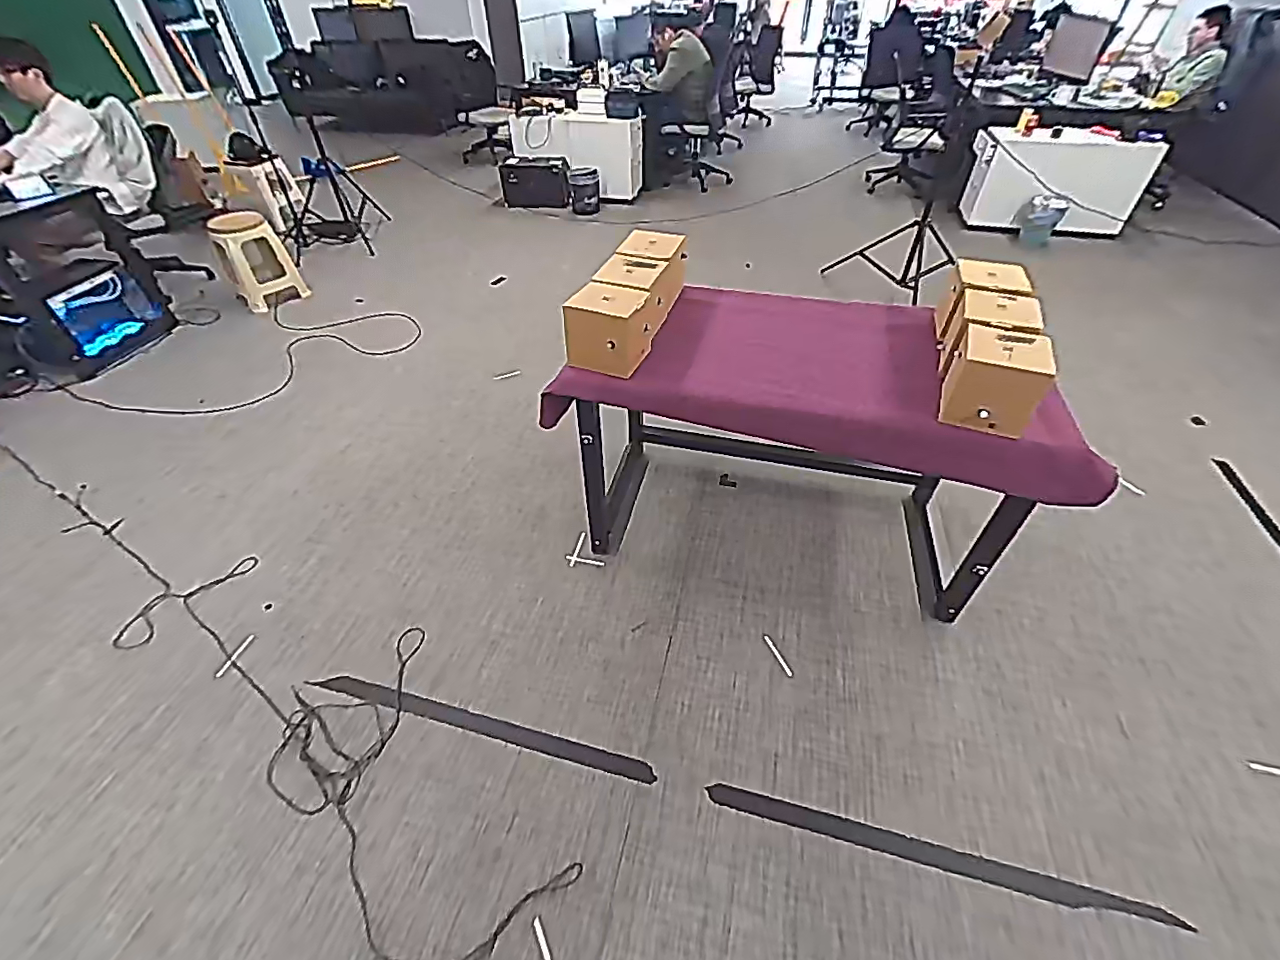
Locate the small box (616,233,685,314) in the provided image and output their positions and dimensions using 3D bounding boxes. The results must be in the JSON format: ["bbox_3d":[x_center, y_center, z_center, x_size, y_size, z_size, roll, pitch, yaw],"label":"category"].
[{"bbox_3d":[0.031,-0.632,1.652,0.168,0.176,0.179,13,46,14],"label":"small box"}]

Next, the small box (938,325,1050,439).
[{"bbox_3d":[0.793,-0.222,1.219,0.168,0.176,0.179,17,50,21],"label":"small box"}]

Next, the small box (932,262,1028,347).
[{"bbox_3d":[0.920,-0.474,1.482,0.168,0.176,0.179,13,45,13],"label":"small box"}]
